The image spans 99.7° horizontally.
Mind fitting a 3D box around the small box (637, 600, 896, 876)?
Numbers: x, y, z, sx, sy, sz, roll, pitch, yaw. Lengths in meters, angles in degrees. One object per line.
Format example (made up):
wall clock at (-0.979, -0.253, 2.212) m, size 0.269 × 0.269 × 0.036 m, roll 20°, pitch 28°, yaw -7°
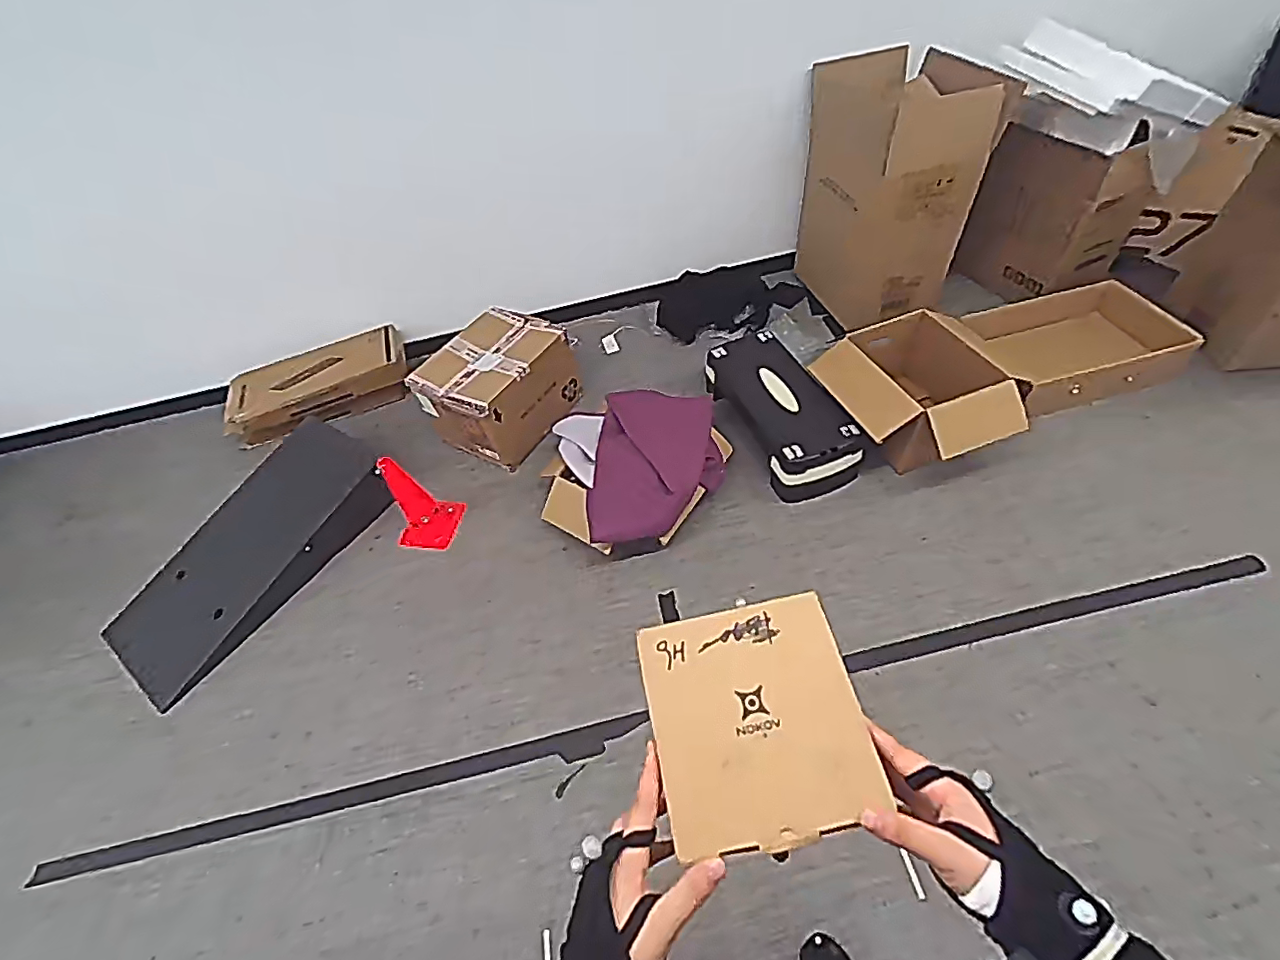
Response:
small box at (0.102, 0.233, 0.499) m, size 0.168 × 0.176 × 0.179 m, roll -13°, pitch 60°, yaw 0°
